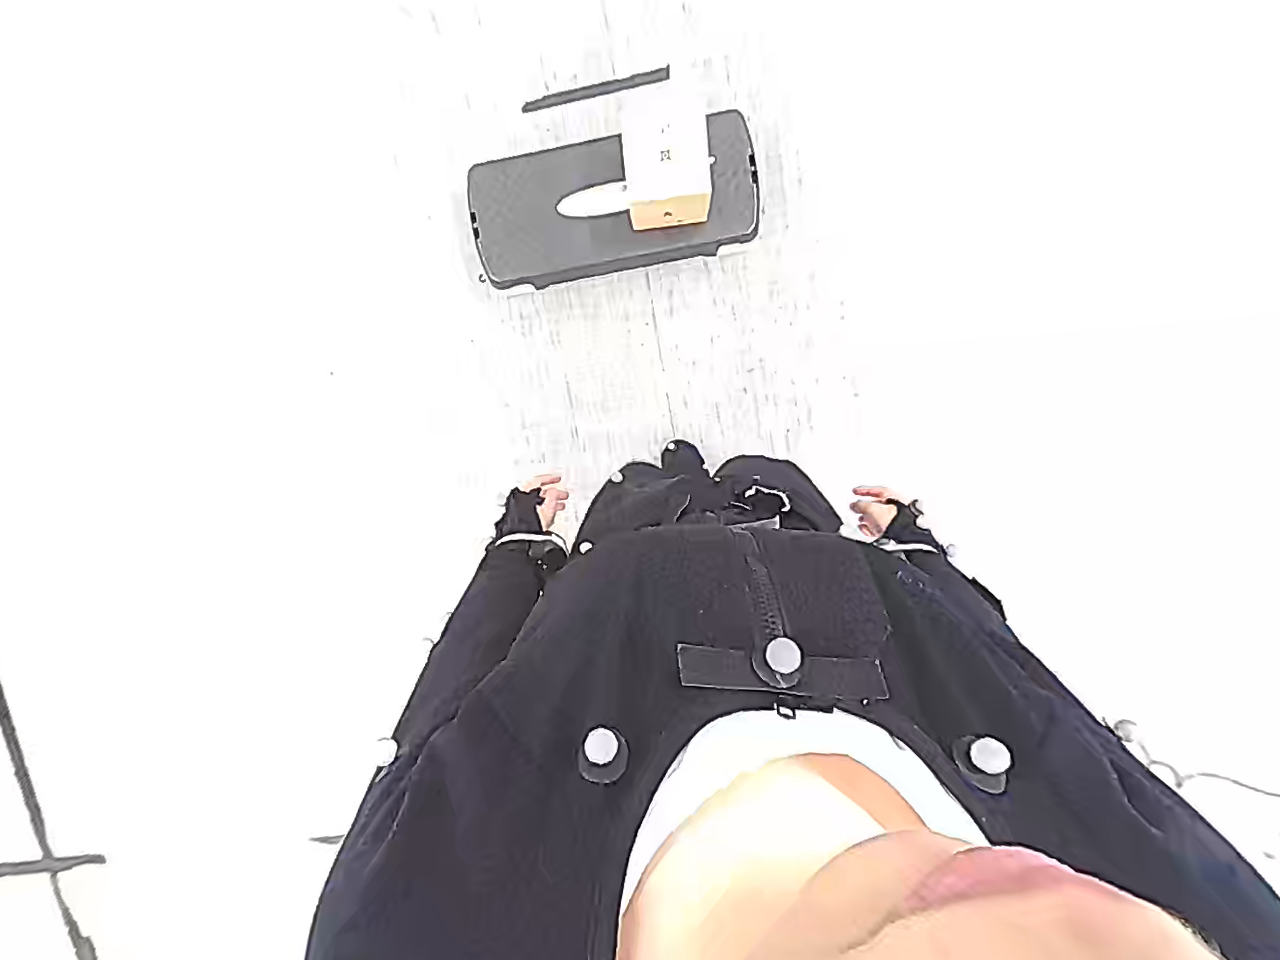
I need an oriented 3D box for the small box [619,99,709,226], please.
[{"bbox_3d":[0.053,-0.647,1.128,0.168,0.176,0.179,-5,96,4],"label":"small box"}]
